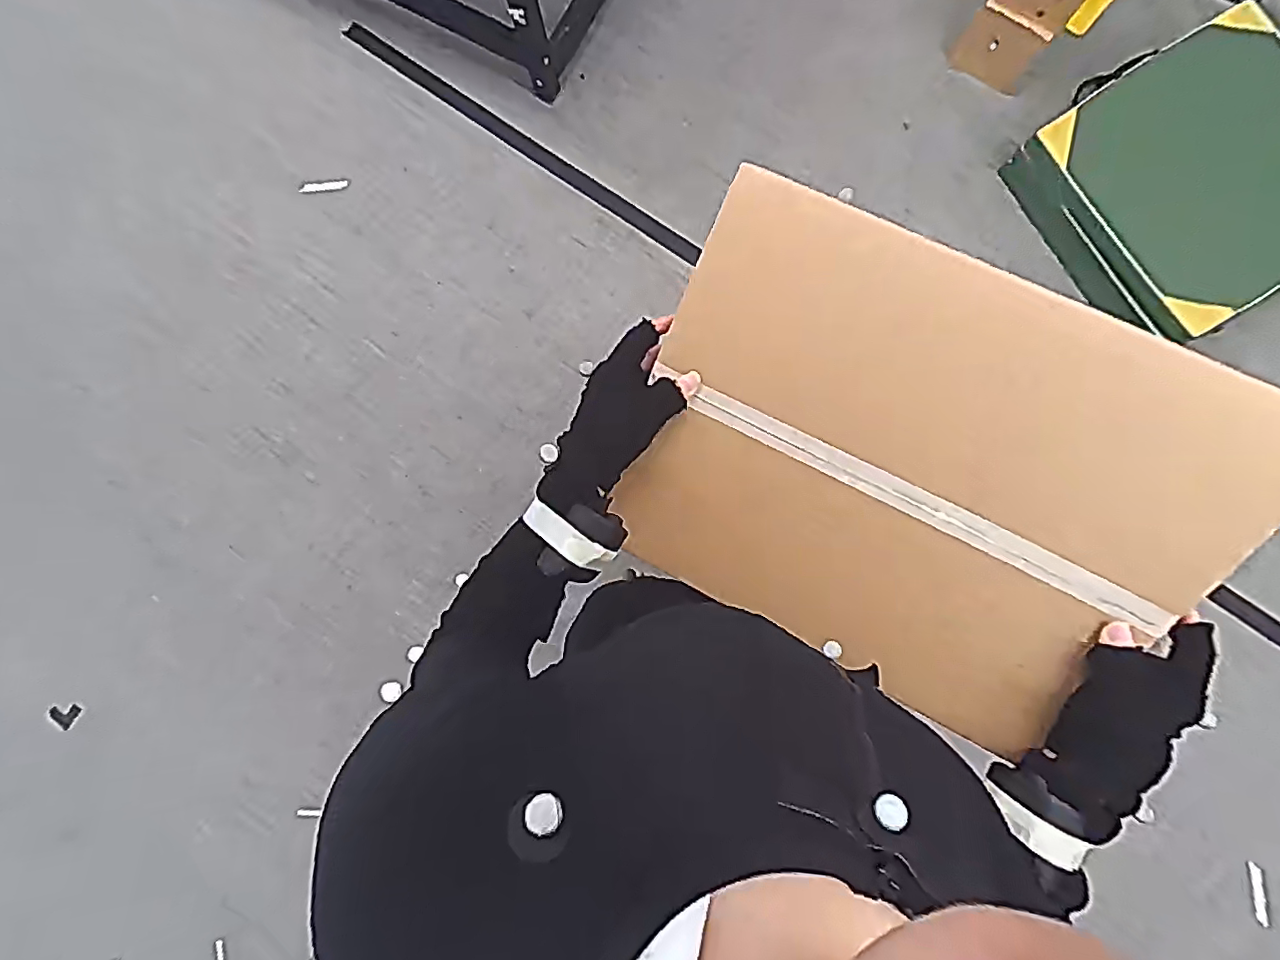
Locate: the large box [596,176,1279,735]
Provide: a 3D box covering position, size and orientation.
[{"bbox_3d":[0.229,-0.047,0.547,0.408,0.320,0.320,28,116,7],"label":"large box"}]
